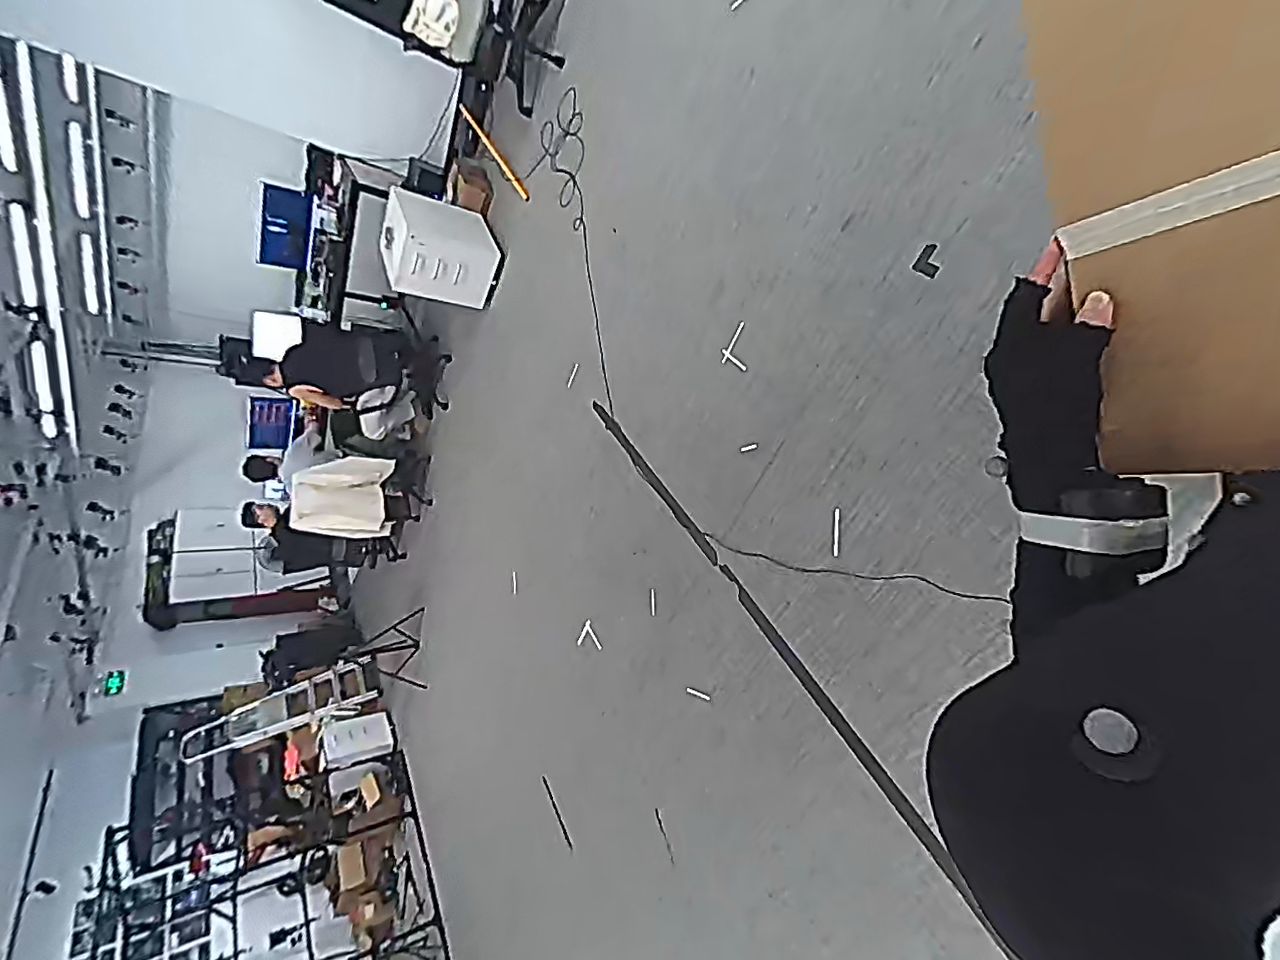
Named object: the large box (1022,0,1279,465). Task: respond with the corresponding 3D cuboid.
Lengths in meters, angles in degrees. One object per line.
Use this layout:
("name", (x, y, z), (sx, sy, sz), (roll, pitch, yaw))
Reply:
("large box", (0.502, -0.208, 0.271), (0.408, 0.320, 0.320), (-2, 108, 57))
